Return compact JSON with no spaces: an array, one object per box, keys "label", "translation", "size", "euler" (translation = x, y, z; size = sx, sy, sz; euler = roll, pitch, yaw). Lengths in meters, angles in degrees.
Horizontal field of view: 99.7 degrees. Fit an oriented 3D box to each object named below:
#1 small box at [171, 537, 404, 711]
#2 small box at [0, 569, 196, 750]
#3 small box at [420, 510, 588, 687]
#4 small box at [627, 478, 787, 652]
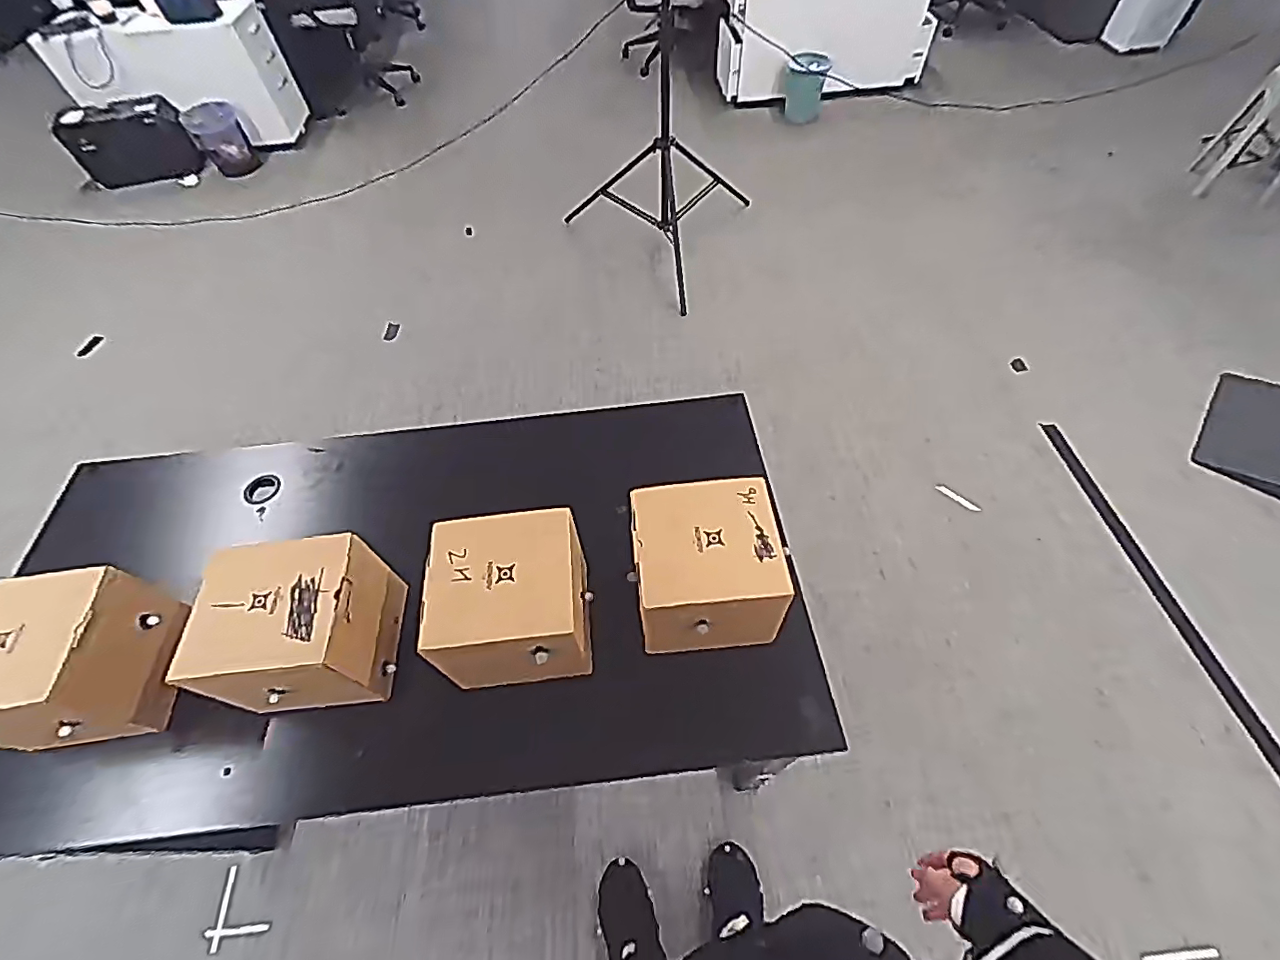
[{"label":"small box","translation":[-0.431,0.191,0.703],"size":[0.179,0.176,0.168],"euler":[-6,55,0]},{"label":"small box","translation":[-0.723,0.234,0.692],"size":[0.179,0.176,0.168],"euler":[-9,55,-2]},{"label":"small box","translation":[-0.163,0.159,0.708],"size":[0.179,0.176,0.168],"euler":[-7,55,-1]},{"label":"small box","translation":[0.083,0.119,0.722],"size":[0.179,0.176,0.168],"euler":[-7,55,1]}]
